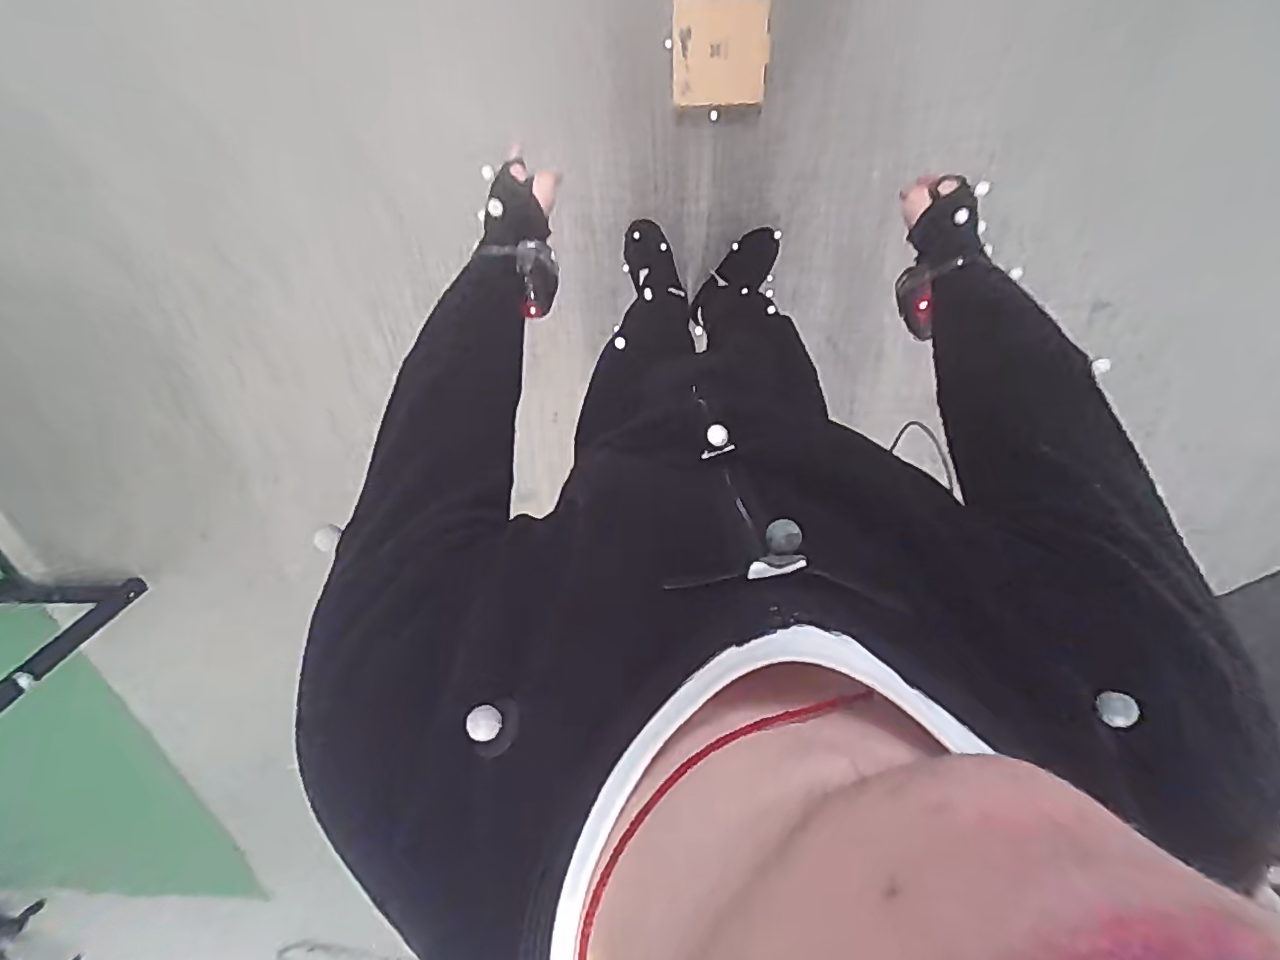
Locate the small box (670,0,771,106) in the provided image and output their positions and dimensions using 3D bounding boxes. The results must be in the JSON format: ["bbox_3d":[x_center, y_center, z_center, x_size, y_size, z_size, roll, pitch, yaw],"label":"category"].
[{"bbox_3d":[0.150,-0.845,1.067,0.179,0.176,0.168,0,121,2],"label":"small box"}]
